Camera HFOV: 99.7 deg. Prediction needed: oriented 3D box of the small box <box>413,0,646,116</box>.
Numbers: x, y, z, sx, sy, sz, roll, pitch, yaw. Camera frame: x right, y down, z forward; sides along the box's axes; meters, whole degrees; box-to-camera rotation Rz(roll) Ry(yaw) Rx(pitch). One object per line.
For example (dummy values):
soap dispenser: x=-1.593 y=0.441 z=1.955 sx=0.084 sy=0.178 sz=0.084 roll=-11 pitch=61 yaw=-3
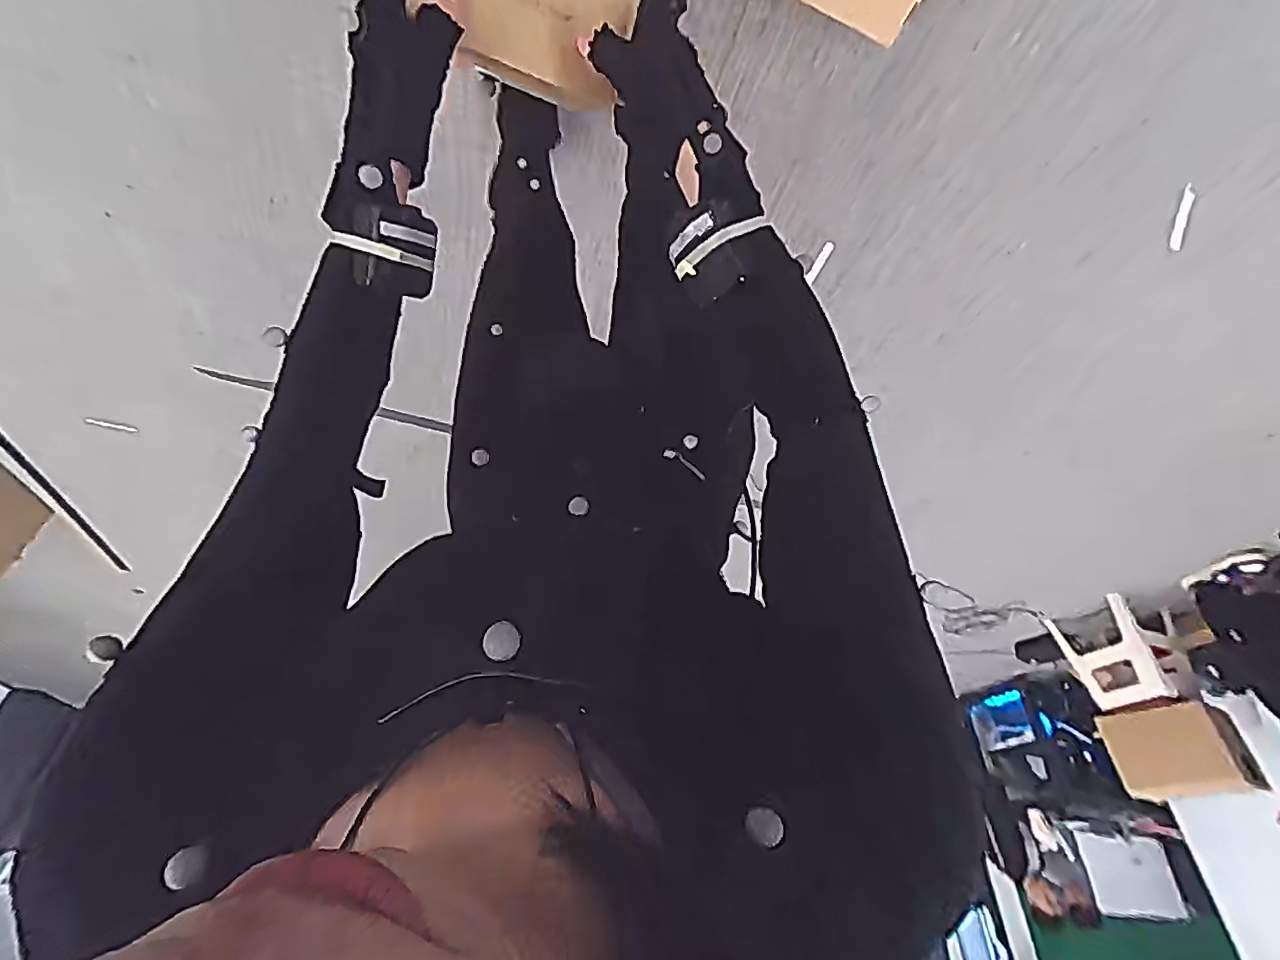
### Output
small box: x=-0.091 y=-0.435 z=0.454 sx=0.168 sy=0.176 sz=0.179 roll=7 pitch=119 yaw=-24

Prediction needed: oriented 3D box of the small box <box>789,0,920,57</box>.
small box: x=0.340 y=-0.801 z=0.824 sx=0.179 sy=0.176 sz=0.168 roll=14 pitch=141 yaw=-16
